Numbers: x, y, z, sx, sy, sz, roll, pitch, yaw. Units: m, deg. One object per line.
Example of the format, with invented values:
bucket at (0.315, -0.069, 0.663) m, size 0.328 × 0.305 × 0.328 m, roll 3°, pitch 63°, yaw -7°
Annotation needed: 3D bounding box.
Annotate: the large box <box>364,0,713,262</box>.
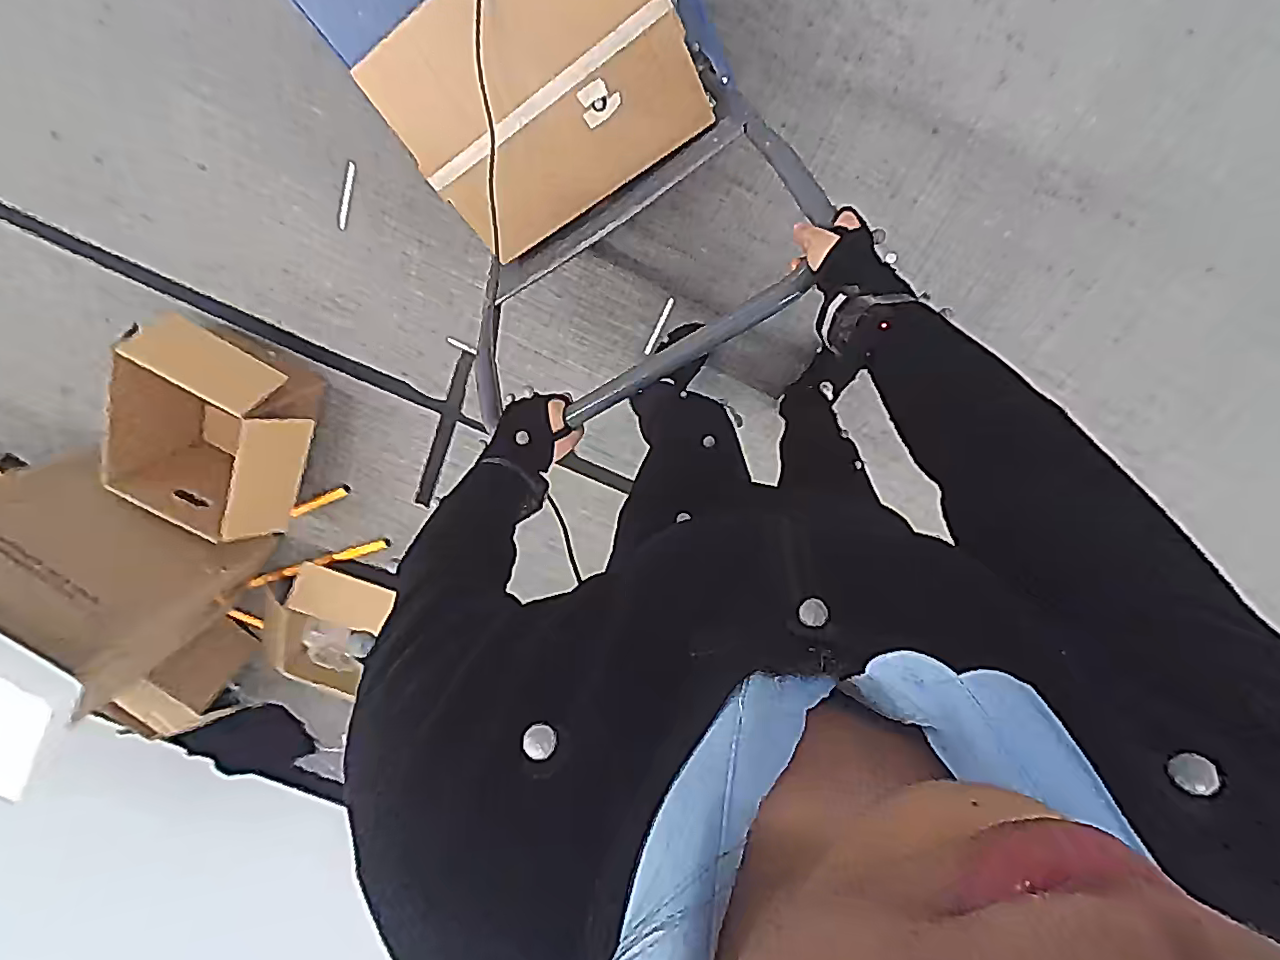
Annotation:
large box at (-0.150, -0.644, 0.874) m, size 0.408 × 0.320 × 0.320 m, roll -27°, pitch 131°, yaw 18°
